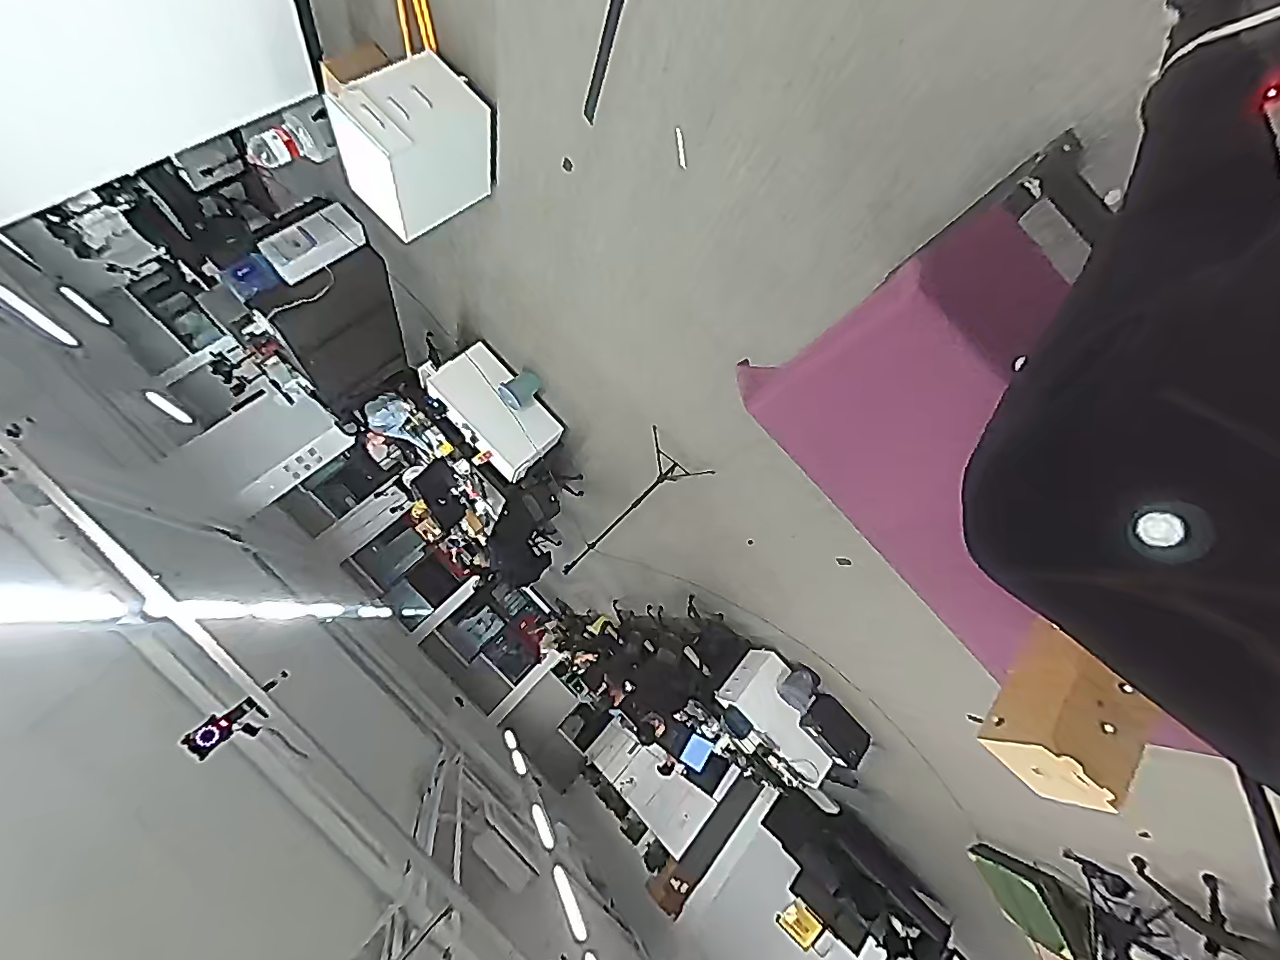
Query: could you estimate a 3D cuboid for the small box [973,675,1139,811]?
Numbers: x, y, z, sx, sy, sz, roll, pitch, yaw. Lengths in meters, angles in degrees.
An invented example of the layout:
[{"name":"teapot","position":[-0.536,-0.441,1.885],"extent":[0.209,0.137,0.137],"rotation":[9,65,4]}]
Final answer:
[{"name":"small box","position":[0.822,0.508,1.072],"extent":[0.168,0.176,0.179],"rotation":[42,157,8]}]
